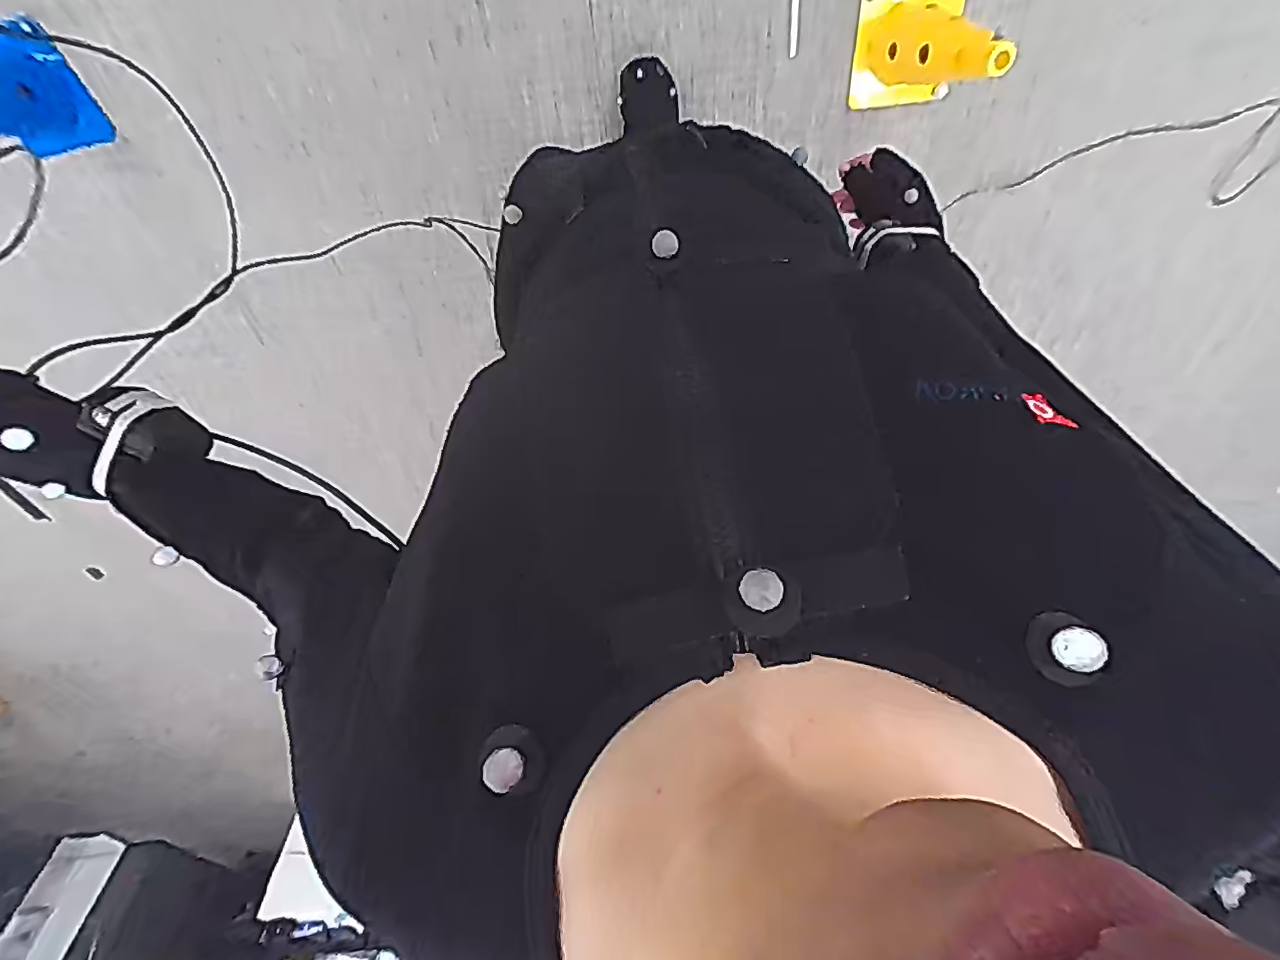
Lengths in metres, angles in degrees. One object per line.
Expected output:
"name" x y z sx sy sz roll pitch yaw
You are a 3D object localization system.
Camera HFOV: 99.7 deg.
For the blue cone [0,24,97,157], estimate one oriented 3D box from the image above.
"blue cone" -1.193 -0.642 0.932 0.193 0.380 0.192 -9 131 5
